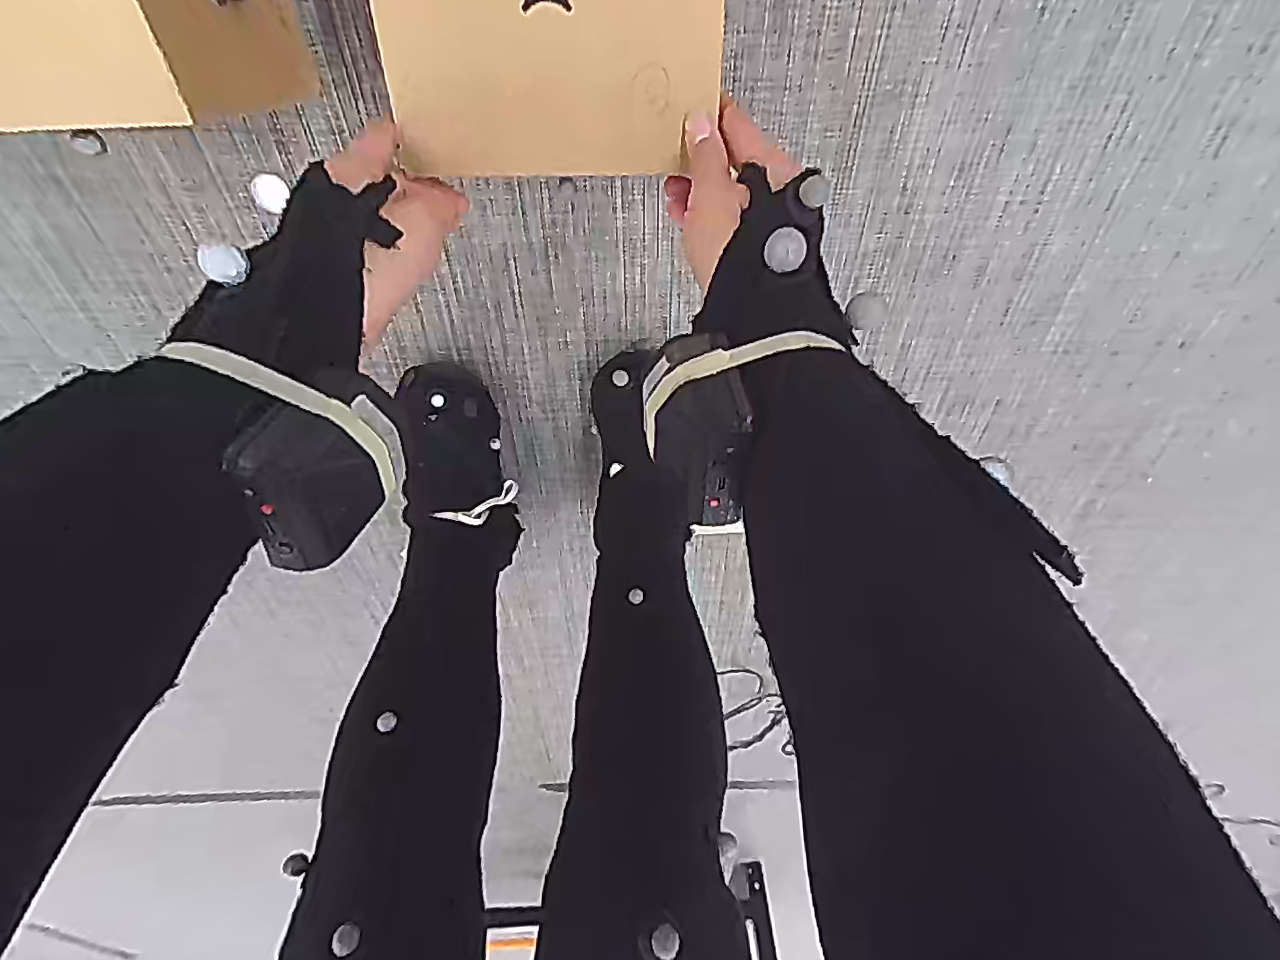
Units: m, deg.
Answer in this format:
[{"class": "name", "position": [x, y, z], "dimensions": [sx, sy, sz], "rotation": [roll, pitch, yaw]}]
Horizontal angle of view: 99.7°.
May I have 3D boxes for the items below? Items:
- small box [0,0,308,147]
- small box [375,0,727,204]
[{"class": "small box", "position": [-0.323, -0.297, 0.303], "dimensions": [0.179, 0.176, 0.168], "rotation": [-2, 130, 0]}, {"class": "small box", "position": [-0.042, -0.266, 0.316], "dimensions": [0.168, 0.176, 0.179], "rotation": [-1, 120, -1]}]
